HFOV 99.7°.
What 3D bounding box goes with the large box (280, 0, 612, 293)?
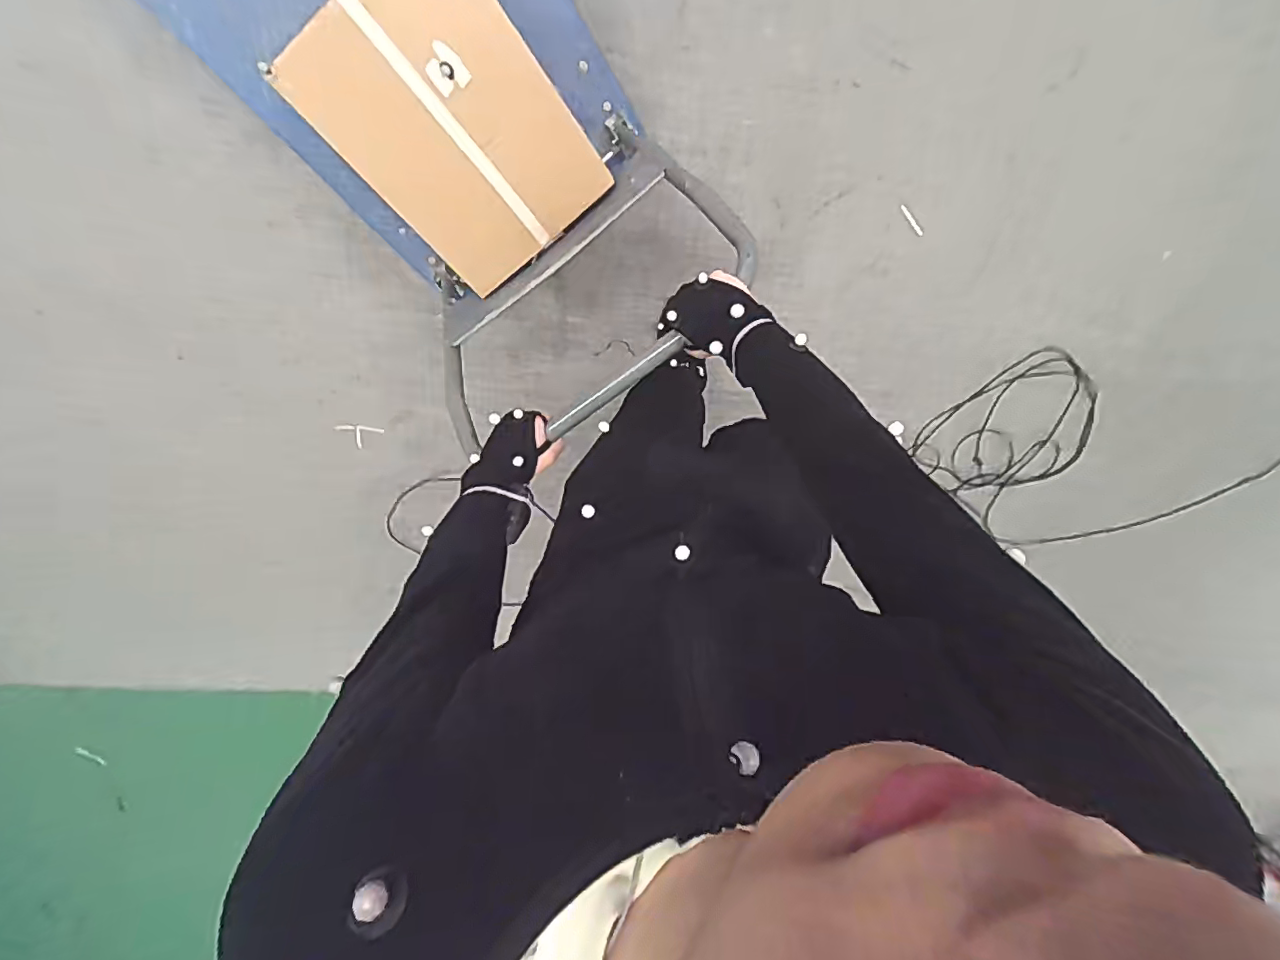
[{"bbox_3d":[-0.308,-0.626,0.958,0.320,0.320,0.408,-35,129,13],"label":"large box"}]
